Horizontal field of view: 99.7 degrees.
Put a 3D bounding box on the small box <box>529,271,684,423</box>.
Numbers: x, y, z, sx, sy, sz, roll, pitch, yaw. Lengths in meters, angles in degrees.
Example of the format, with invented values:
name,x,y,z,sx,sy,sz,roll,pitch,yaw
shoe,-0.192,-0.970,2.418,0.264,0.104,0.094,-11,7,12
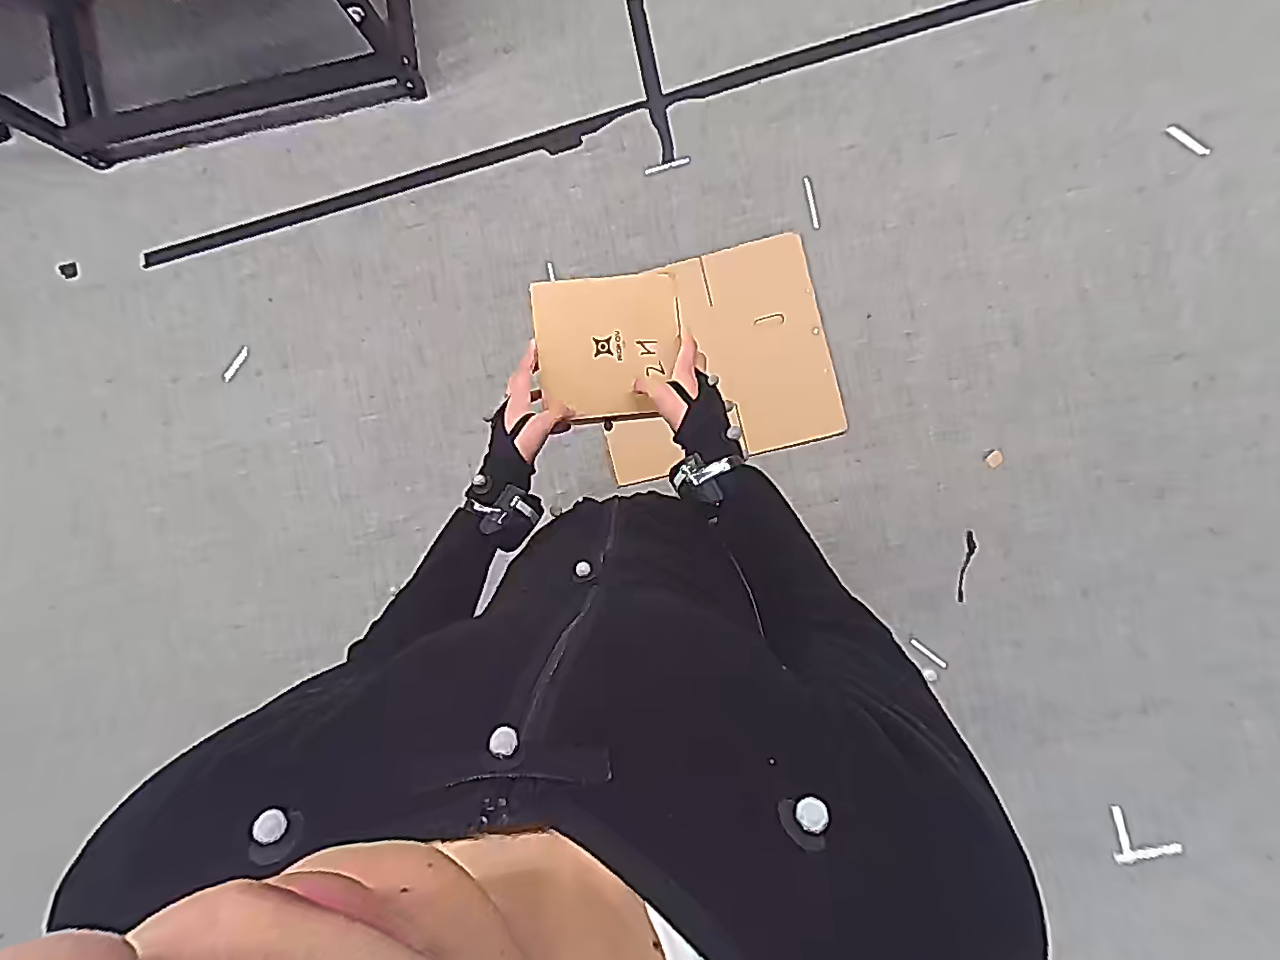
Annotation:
name,x,y,z,sx,sy,sz,roll,pitch,yaw
small box,-0.044,-0.166,0.722,0.179,0.176,0.168,-6,95,-5
